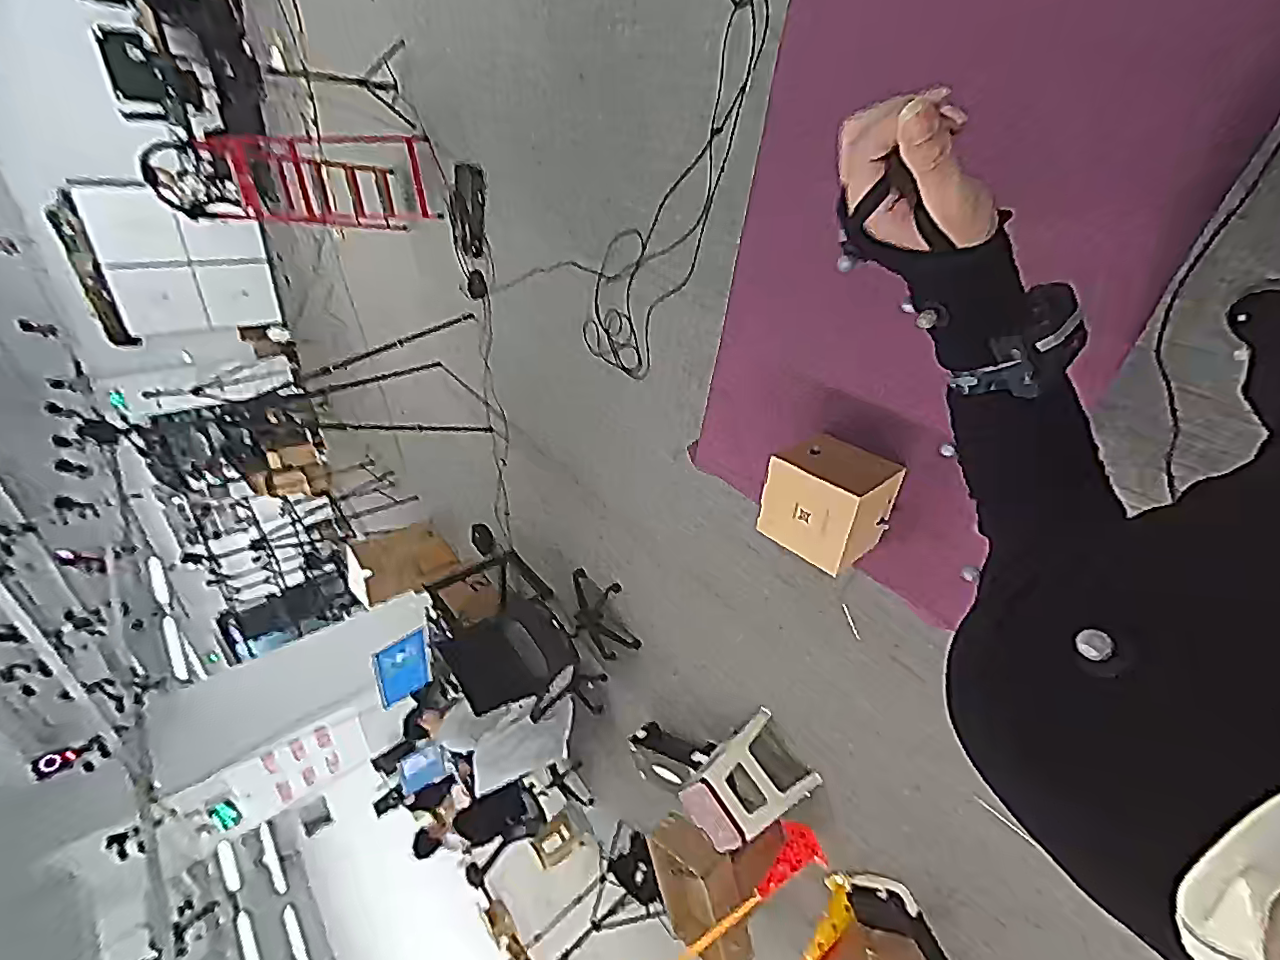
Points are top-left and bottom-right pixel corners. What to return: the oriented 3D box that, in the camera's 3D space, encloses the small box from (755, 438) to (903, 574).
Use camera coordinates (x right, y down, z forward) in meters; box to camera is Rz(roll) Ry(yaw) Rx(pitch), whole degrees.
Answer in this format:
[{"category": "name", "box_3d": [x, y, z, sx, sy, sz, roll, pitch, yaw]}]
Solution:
[{"category": "small box", "box_3d": [0.343, 0.036, 0.994, 0.179, 0.176, 0.168, 32, 131, 38]}]
